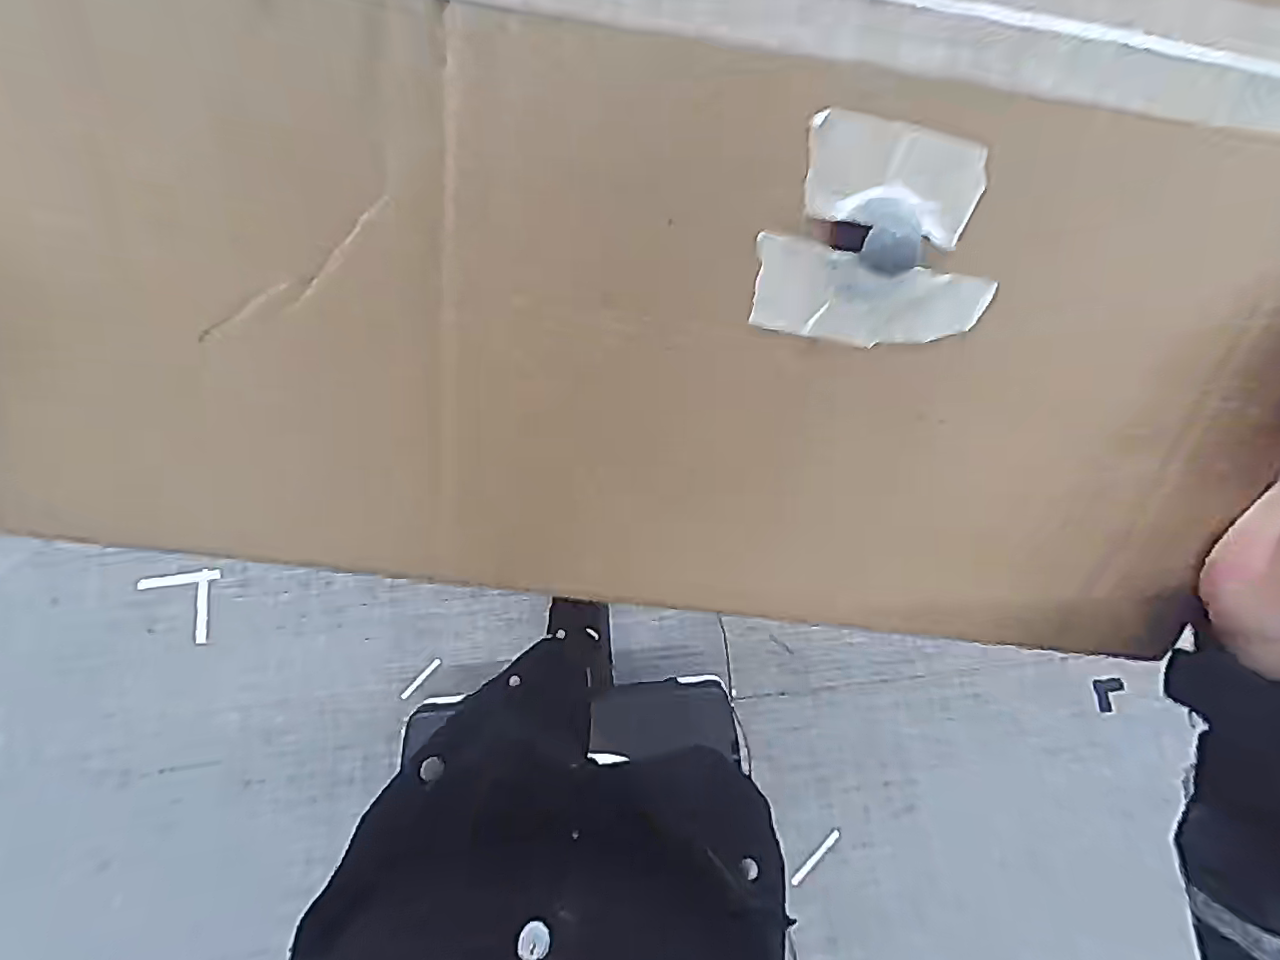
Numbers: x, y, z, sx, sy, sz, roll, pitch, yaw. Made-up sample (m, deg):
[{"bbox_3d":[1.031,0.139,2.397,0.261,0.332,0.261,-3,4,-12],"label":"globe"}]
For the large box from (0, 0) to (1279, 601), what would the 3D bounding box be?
[{"bbox_3d":[-0.006,-0.171,0.263,0.408,0.320,0.320,7,113,-5],"label":"large box"}]
